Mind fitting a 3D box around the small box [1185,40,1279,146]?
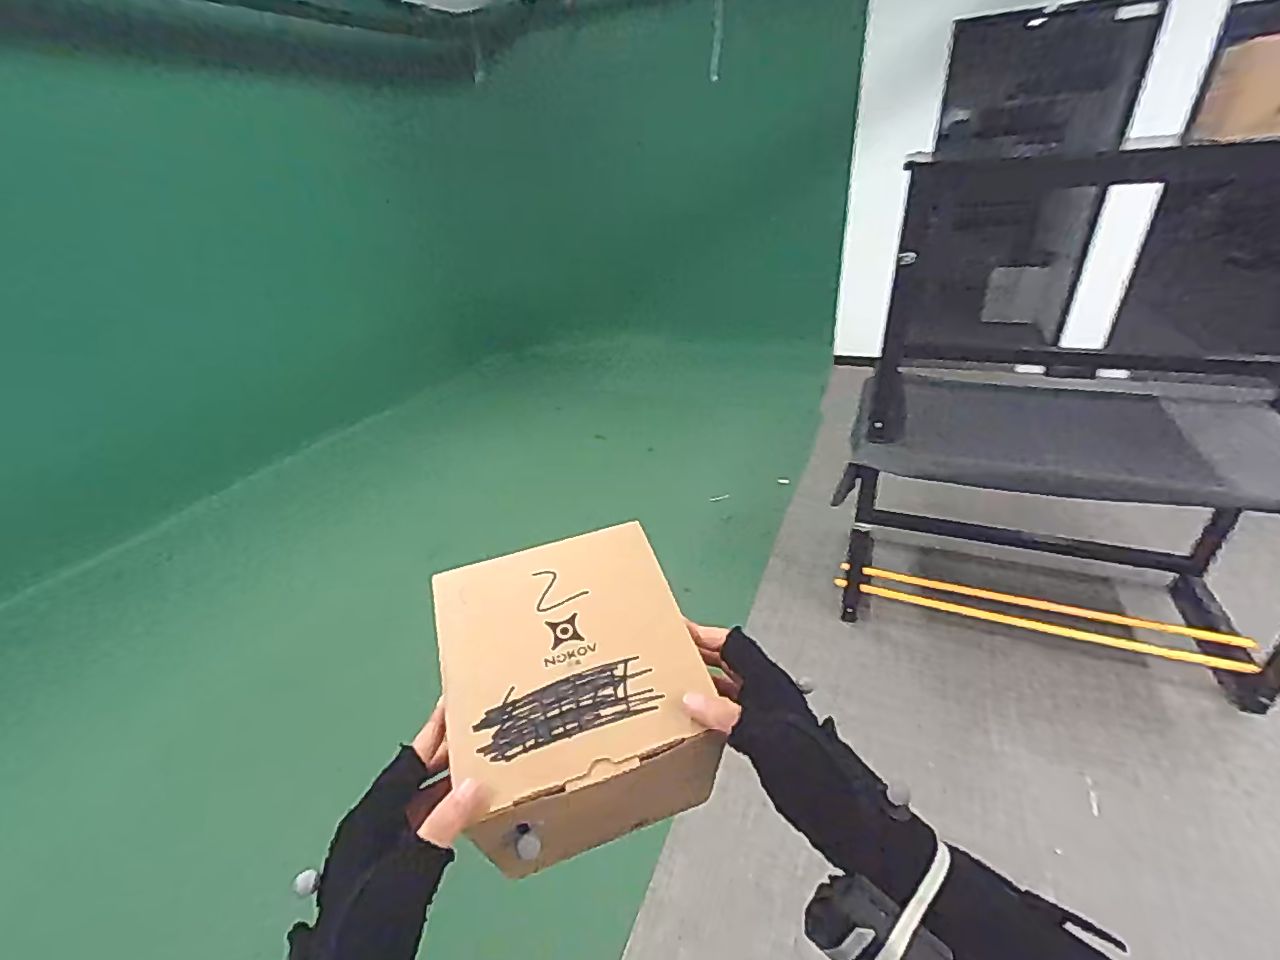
[{"bbox_3d":[1.273,-0.783,1.101,0.168,0.176,0.179,10,34,24],"label":"small box"}]
